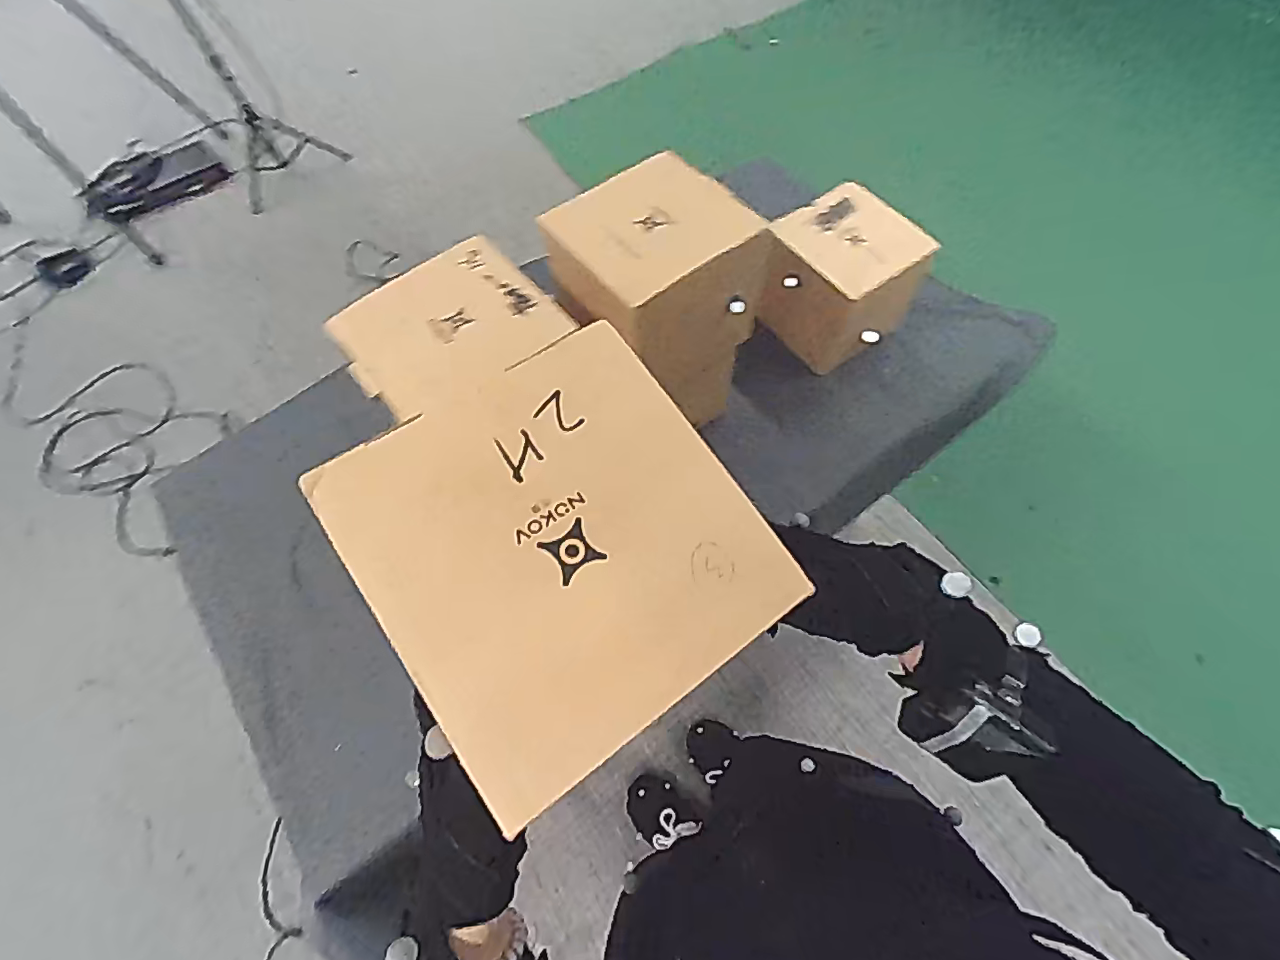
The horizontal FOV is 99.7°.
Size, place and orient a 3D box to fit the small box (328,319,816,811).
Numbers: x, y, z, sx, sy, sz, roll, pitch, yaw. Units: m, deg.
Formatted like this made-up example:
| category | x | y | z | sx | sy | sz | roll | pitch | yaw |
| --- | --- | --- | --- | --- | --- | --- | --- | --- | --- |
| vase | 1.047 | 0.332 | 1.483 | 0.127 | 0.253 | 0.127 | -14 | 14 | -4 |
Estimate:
| category | x | y | z | sx | sy | sz | roll | pitch | yaw |
| --- | --- | --- | --- | --- | --- | --- | --- | --- | --- |
| small box | -0.038 | 0.047 | 0.325 | 0.168 | 0.176 | 0.179 | -32 | 78 | -17 |

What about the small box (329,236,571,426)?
| category | x | y | z | sx | sy | sz | roll | pitch | yaw |
| --- | --- | --- | --- | --- | --- | --- | --- | --- | --- |
| small box | -0.172 | -0.108 | 0.571 | 0.179 | 0.176 | 0.168 | -39 | 70 | -15 |
